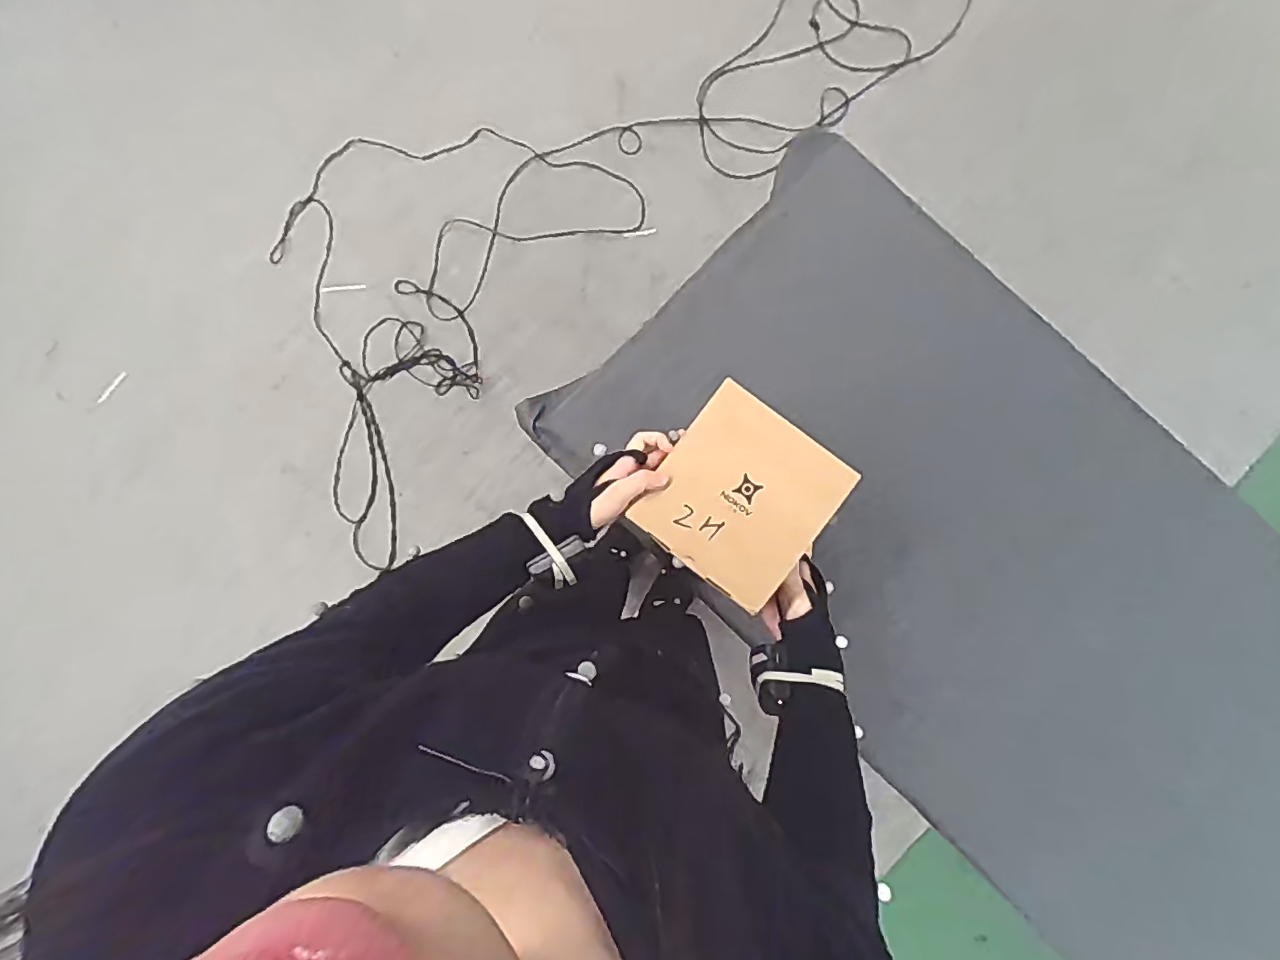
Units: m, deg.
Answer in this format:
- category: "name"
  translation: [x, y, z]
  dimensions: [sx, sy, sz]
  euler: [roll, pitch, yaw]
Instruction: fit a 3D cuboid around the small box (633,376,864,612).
- category: "small box"
  translation: [0.106, 0.016, 0.607]
  dimensions: [0.168, 0.176, 0.179]
  euler: [38, 88, 3]
